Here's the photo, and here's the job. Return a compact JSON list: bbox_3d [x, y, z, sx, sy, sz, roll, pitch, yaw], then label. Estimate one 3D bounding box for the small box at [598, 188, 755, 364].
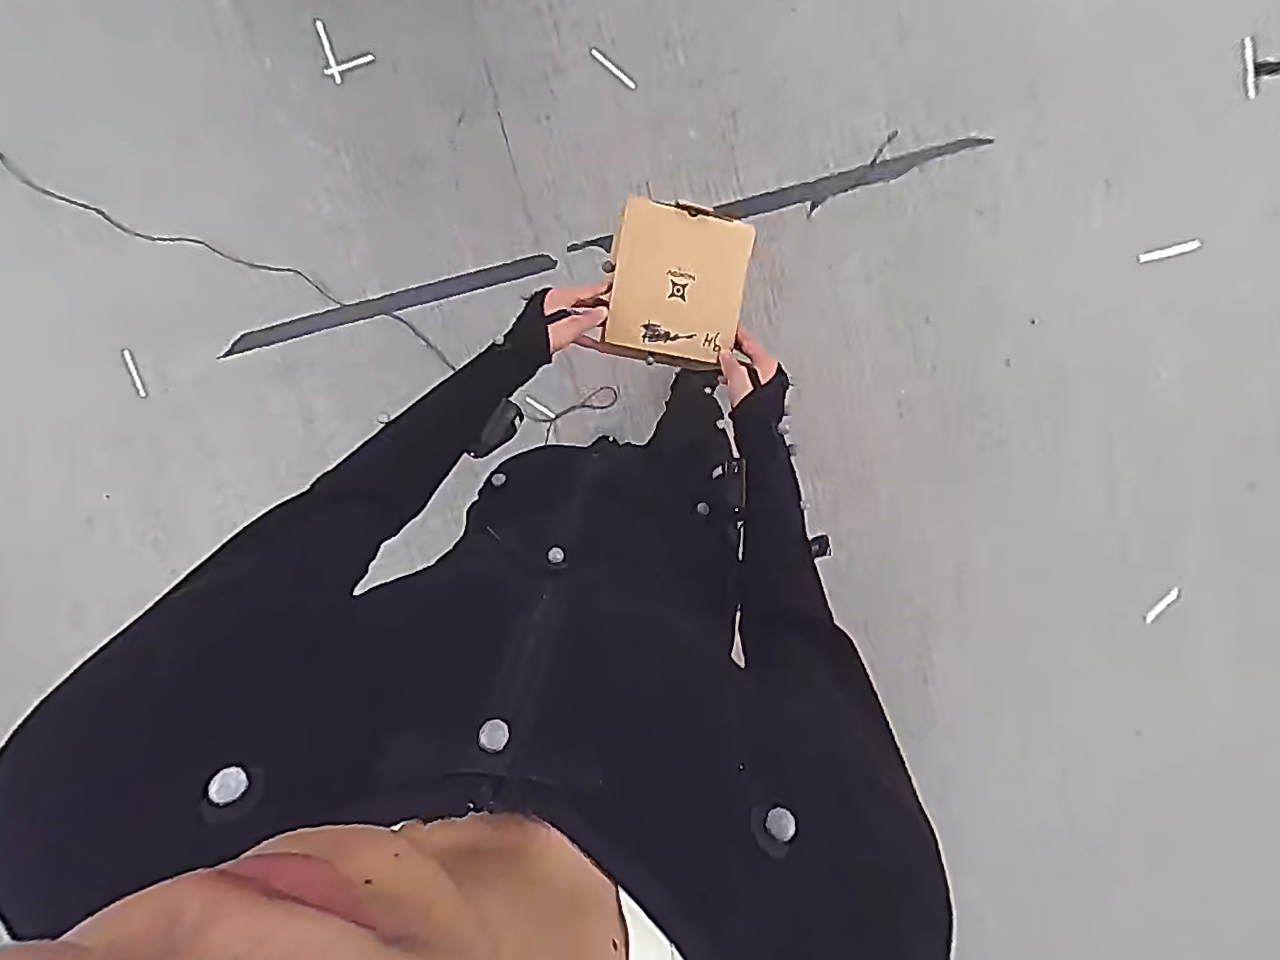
[{"bbox_3d":[0.037,-0.262,0.737,0.168,0.176,0.179,8,99,-9],"label":"small box"}]
